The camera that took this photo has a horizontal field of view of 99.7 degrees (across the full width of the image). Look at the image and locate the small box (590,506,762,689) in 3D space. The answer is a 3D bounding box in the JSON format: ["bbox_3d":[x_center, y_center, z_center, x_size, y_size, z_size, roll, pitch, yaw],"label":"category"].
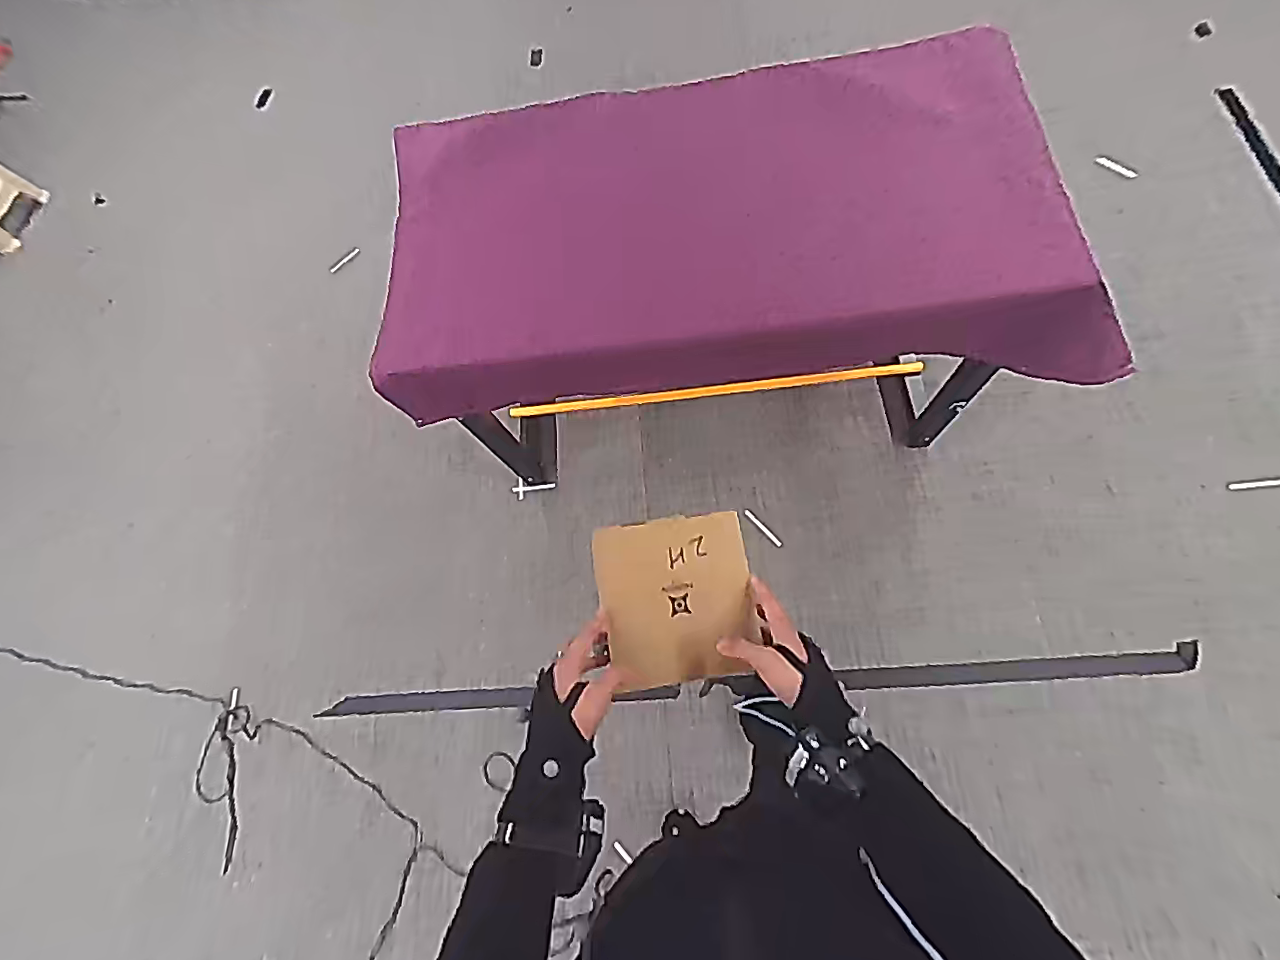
[{"bbox_3d":[0.032,0.139,0.655,0.168,0.176,0.179,-7,77,-8],"label":"small box"}]
